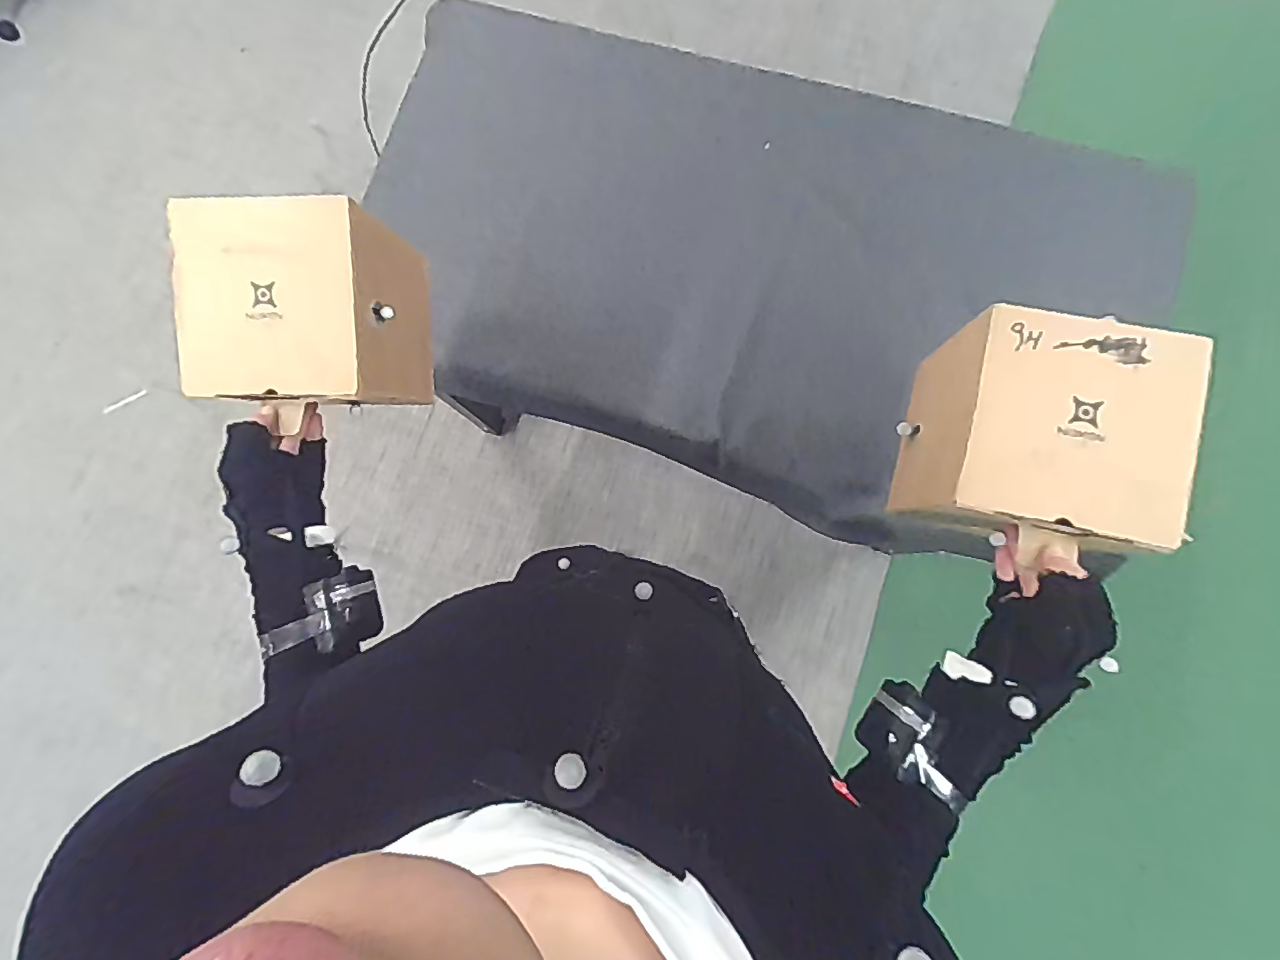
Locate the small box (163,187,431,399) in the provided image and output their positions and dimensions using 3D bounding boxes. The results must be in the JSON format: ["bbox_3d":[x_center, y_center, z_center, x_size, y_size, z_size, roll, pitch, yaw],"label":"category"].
[{"bbox_3d":[-0.327,-0.173,0.552,0.168,0.176,0.179,0,96,2],"label":"small box"}]
